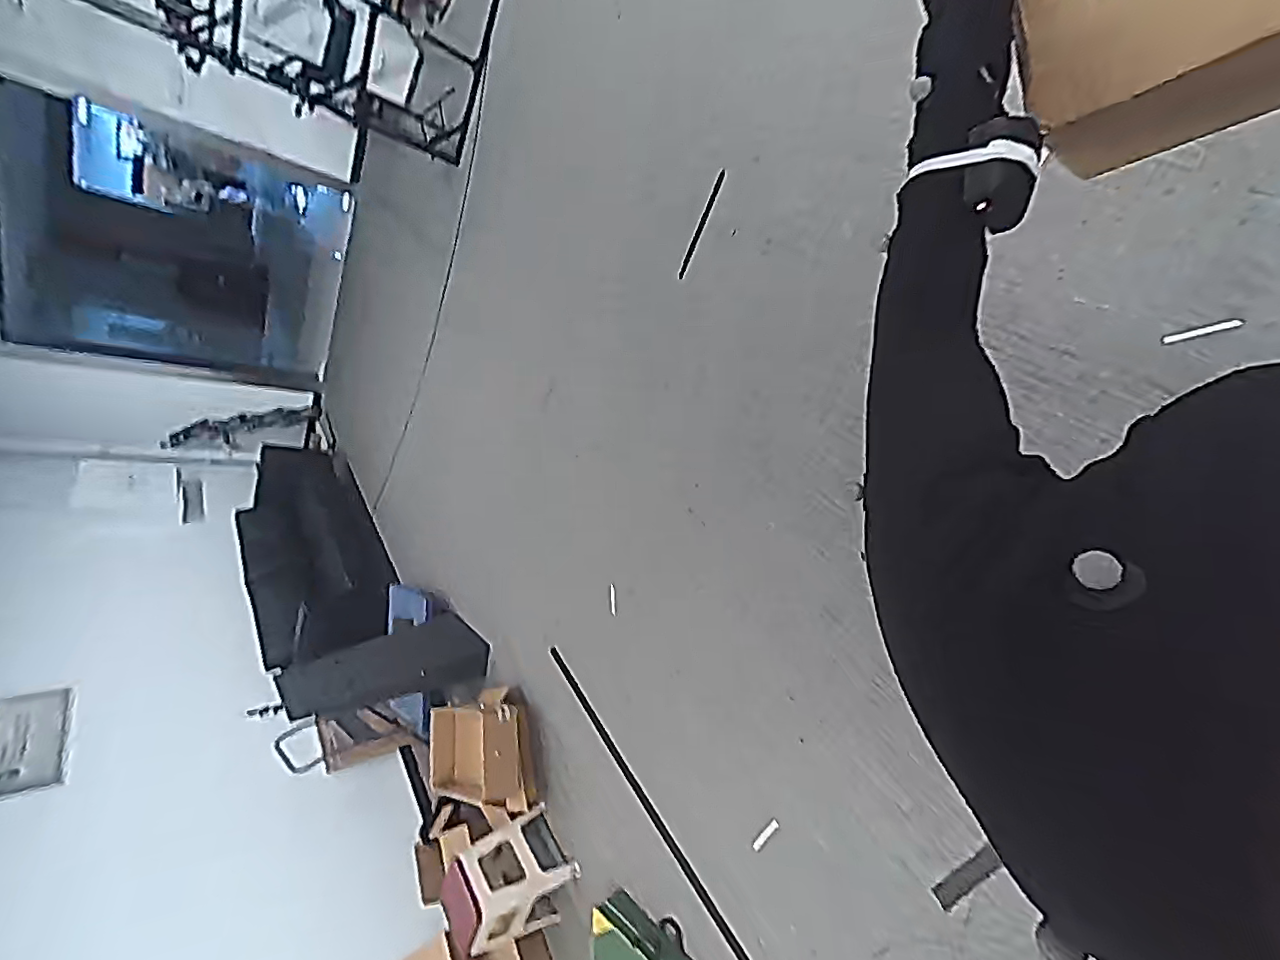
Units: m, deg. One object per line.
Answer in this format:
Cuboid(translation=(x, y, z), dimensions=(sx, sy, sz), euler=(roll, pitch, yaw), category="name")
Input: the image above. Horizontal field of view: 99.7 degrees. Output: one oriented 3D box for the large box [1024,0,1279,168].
Cuboid(translation=(0.531, -0.493, 0.386), dimensions=(0.408, 0.320, 0.320), euler=(-6, 102, 46), category="large box")
